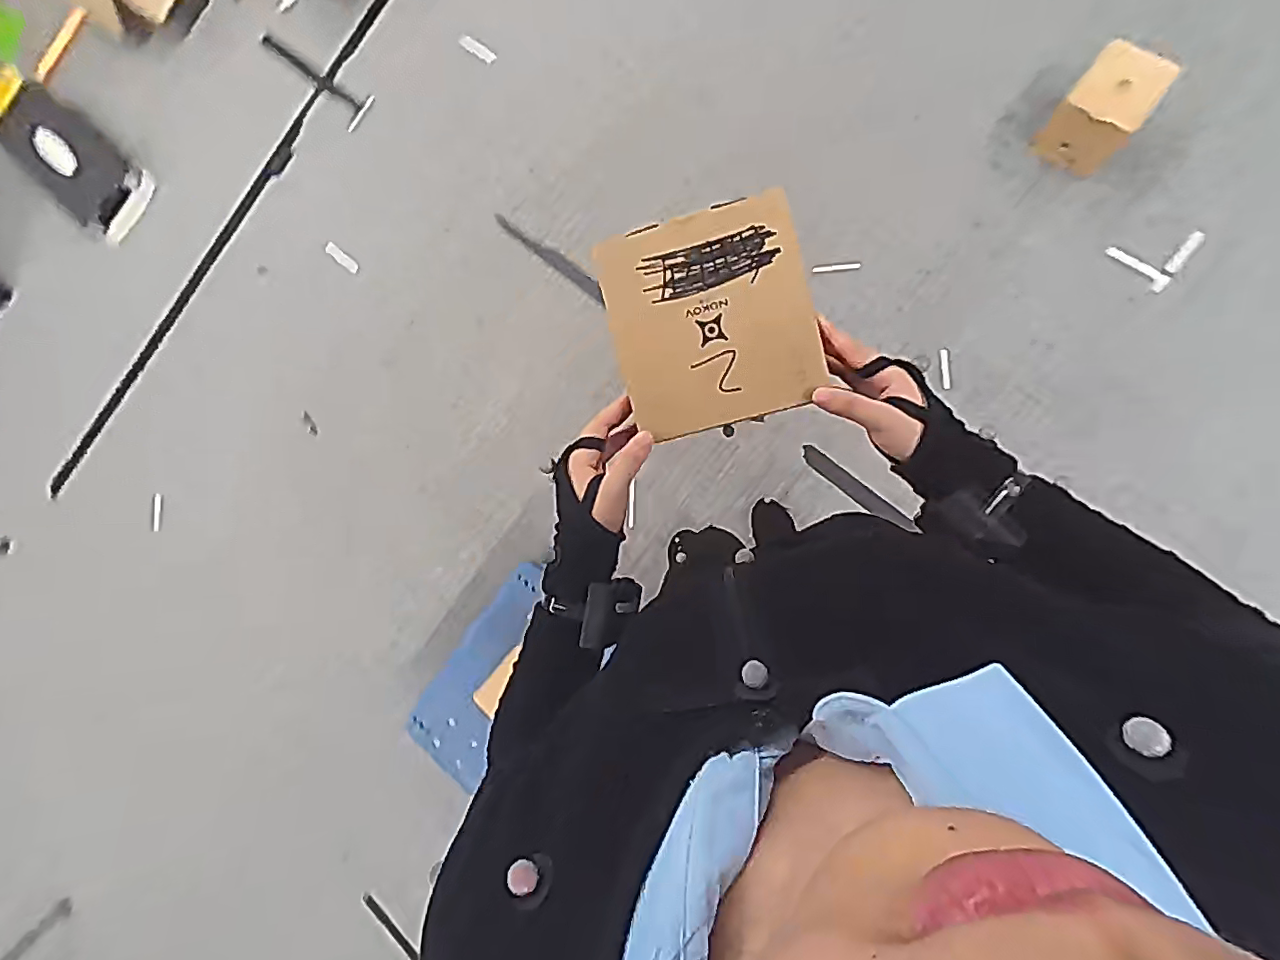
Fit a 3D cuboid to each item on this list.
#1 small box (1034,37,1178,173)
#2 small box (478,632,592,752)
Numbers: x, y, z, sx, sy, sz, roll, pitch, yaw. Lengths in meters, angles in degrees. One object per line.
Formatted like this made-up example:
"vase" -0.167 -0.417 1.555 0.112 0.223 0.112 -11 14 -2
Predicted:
"small box" 1.113 -0.901 1.313 0.168 0.176 0.179 36 94 11
"small box" -0.239 0.493 1.283 0.168 0.176 0.179 41 94 10
